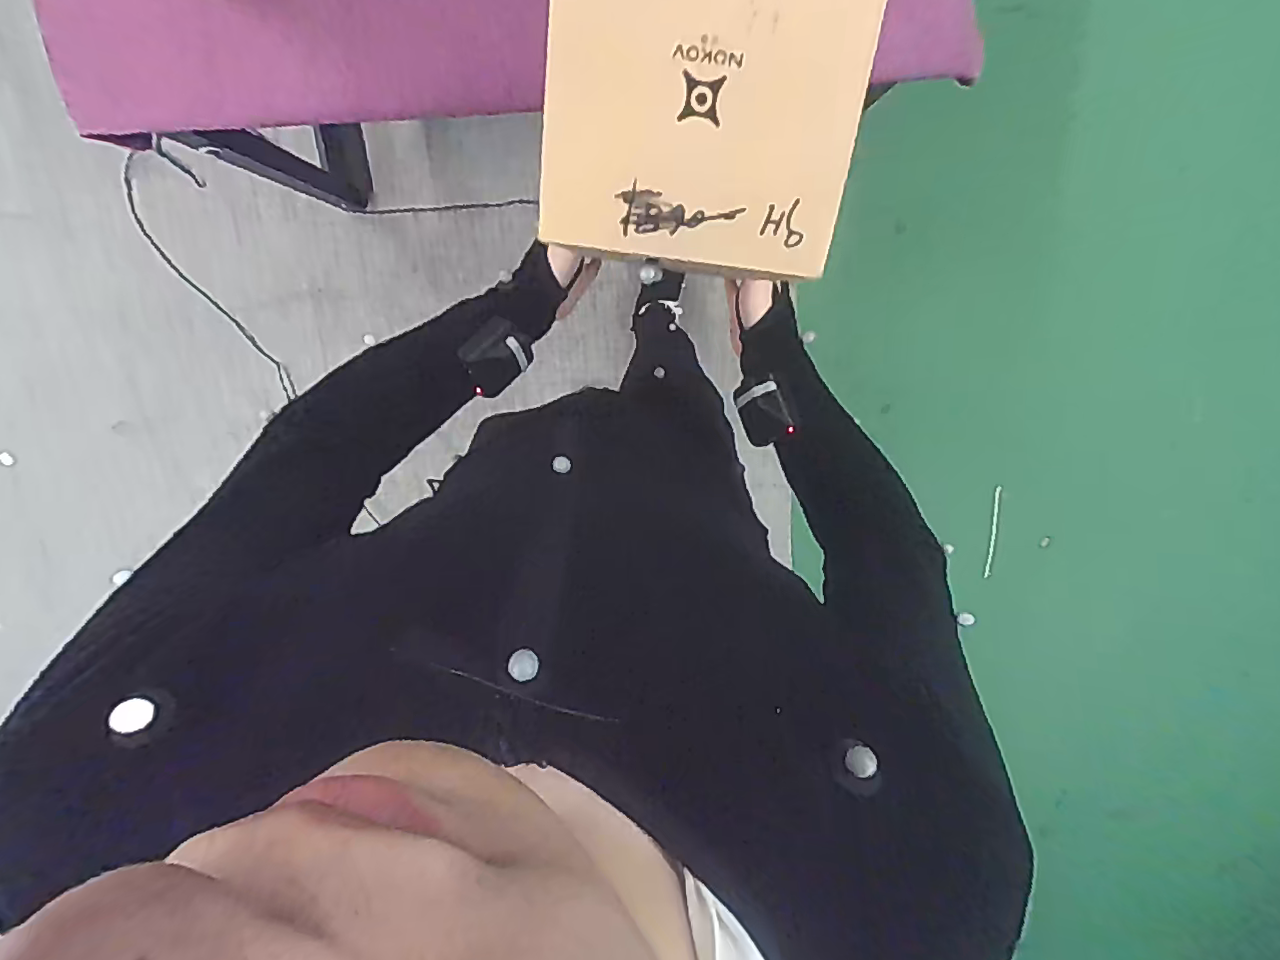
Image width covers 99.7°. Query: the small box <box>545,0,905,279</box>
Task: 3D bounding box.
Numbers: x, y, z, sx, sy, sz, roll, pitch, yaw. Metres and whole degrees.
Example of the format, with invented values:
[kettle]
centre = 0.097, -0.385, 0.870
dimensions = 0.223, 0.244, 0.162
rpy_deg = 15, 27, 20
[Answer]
[small box]
centre = 0.041, -0.232, 0.343
dimensions = 0.168, 0.176, 0.179
rpy_deg = 8, 110, -2
